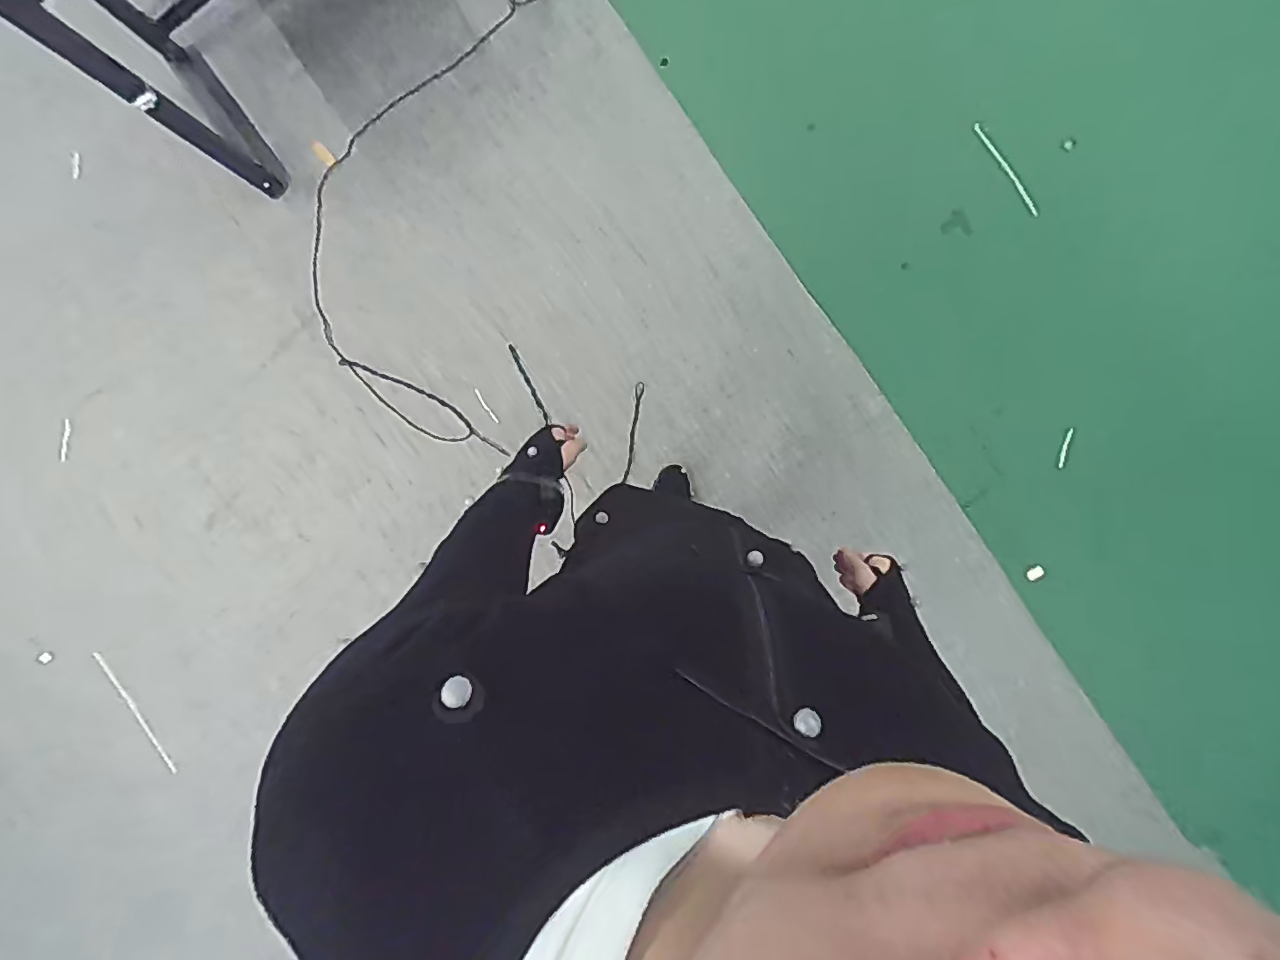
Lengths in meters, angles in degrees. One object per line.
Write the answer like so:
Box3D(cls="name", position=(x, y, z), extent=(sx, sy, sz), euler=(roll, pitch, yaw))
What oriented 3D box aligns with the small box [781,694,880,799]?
Box3D(cls="small box", position=(0.508, 0.710, 1.473), extent=(0.168, 0.176, 0.179), euler=(-33, 89, 3))
